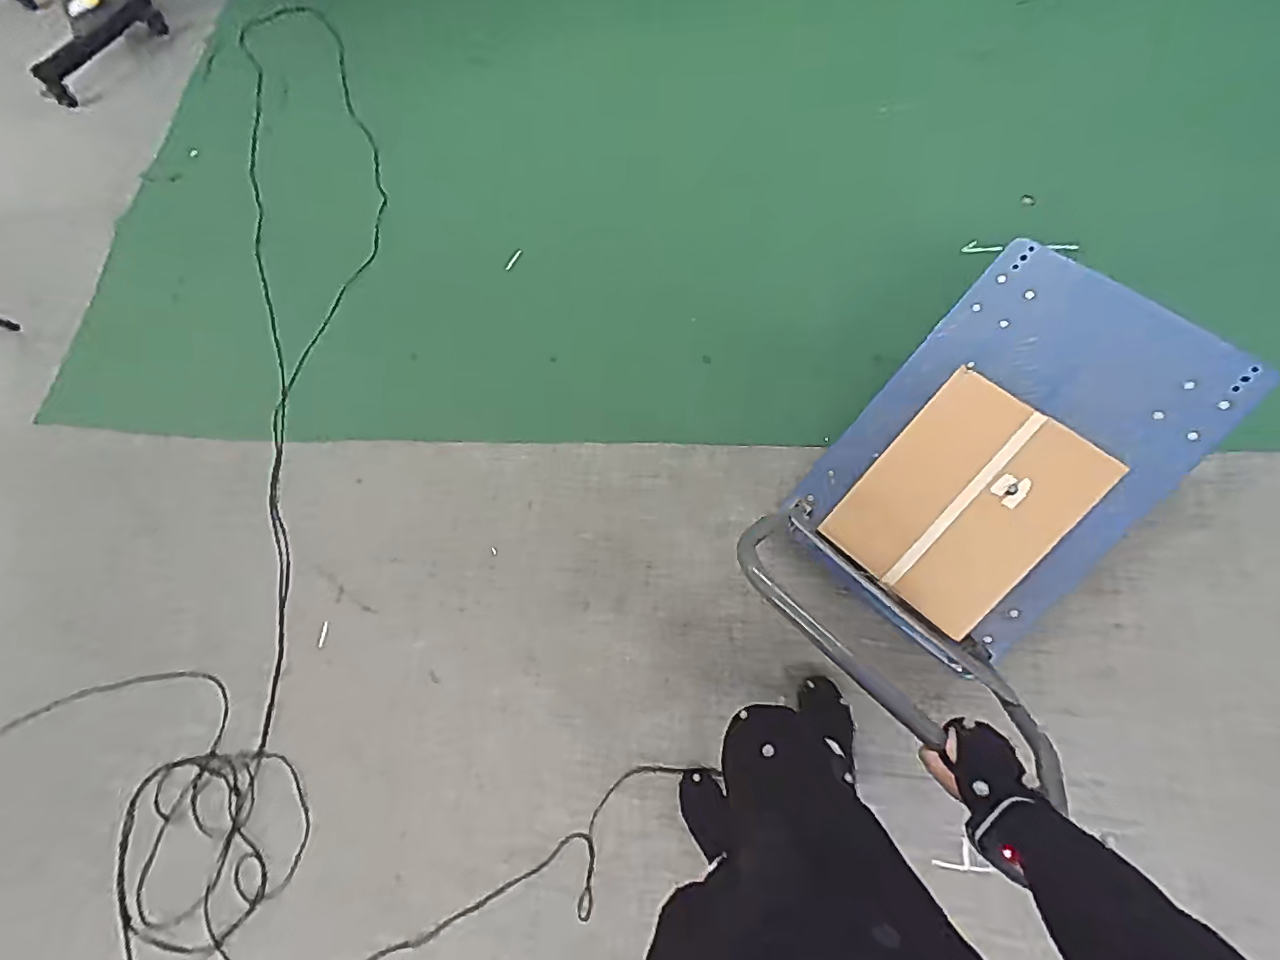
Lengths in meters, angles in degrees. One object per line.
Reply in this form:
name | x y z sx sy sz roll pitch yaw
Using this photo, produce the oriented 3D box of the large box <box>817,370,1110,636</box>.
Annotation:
large box | 0.625 0.054 1.134 0.320 0.320 0.408 41 99 18
